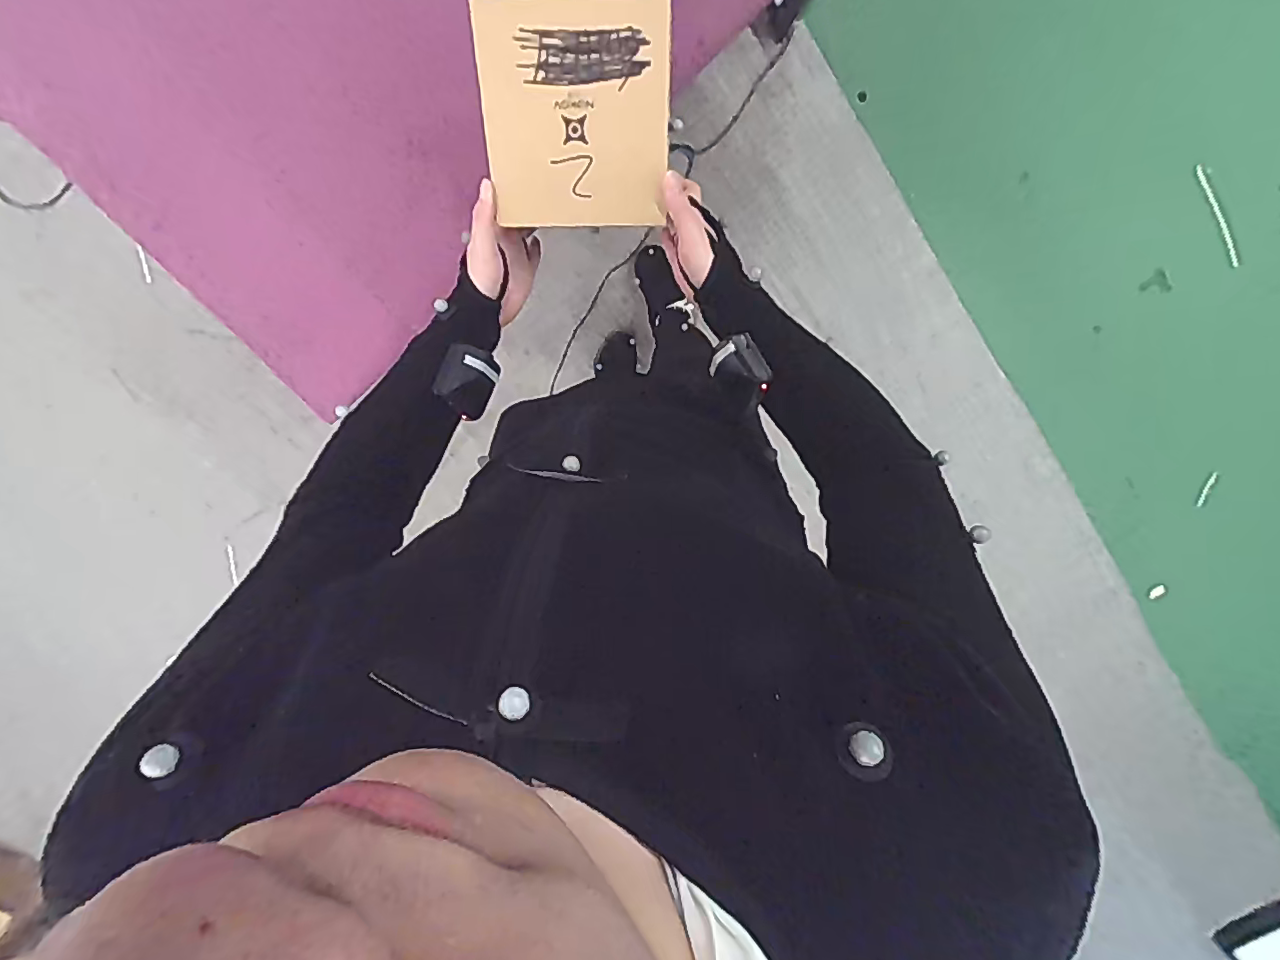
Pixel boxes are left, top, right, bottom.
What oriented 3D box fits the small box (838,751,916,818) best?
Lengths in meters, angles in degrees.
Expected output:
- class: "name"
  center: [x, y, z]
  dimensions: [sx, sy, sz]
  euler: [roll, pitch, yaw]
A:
- class: "small box"
  center: [0.842, 1.106, 1.935]
  dimensions: [0.168, 0.176, 0.179]
  euler: [-33, 107, 9]
